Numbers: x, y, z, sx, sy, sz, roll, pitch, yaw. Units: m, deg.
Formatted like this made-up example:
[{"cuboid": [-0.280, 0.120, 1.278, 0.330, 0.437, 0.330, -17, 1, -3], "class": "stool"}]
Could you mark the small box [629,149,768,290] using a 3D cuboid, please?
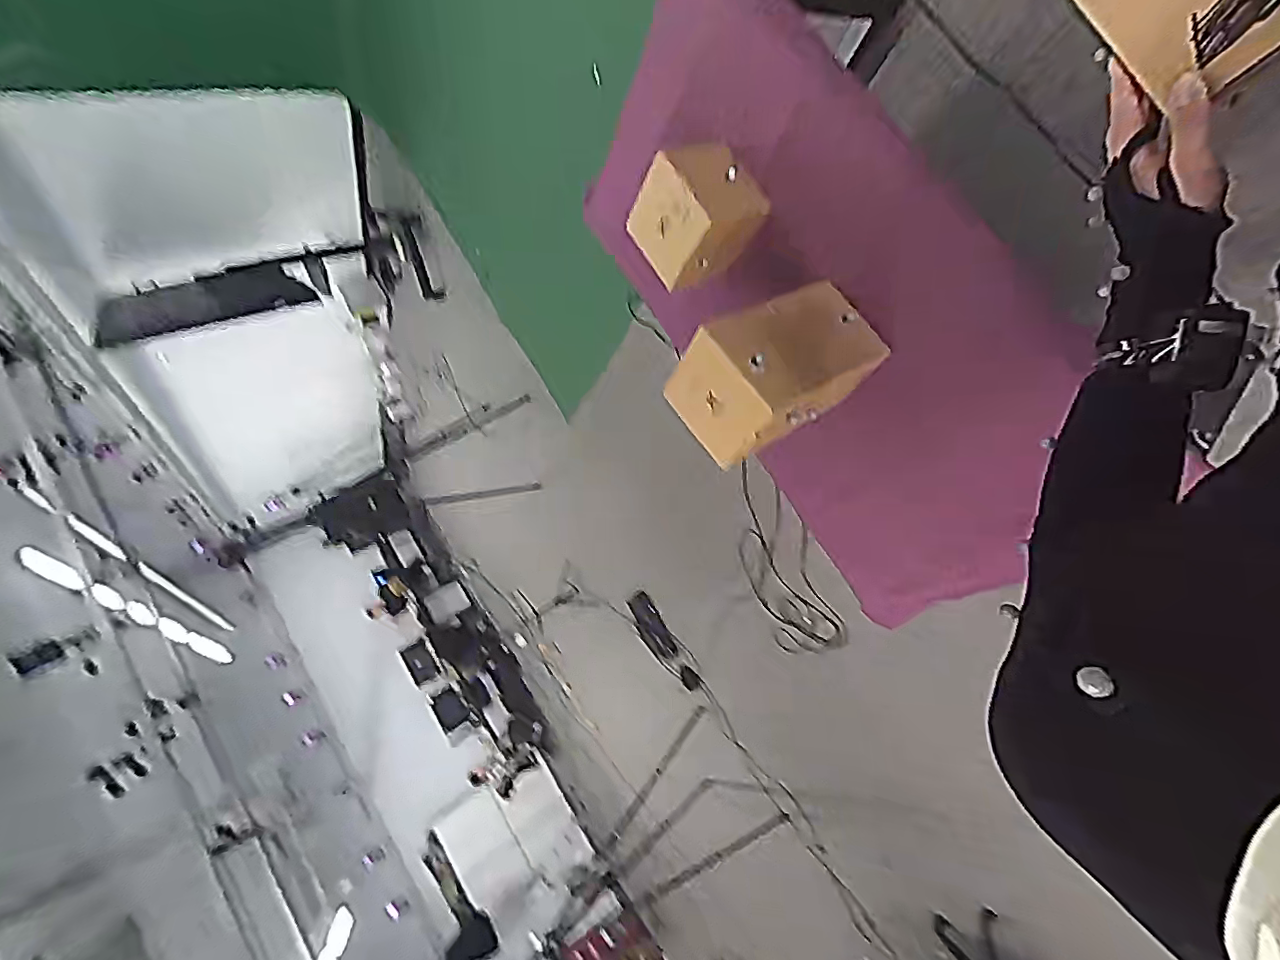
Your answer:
[{"cuboid": [0.112, -0.503, 1.045, 0.168, 0.176, 0.179, 57, 148, 8], "class": "small box"}]

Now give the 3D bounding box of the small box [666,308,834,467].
[{"cuboid": [0.180, -0.156, 0.892, 0.179, 0.176, 0.168, 54, 147, 14], "class": "small box"}]

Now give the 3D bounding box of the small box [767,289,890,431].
[{"cuboid": [0.303, -0.222, 0.978, 0.179, 0.176, 0.168, 55, 148, 14], "class": "small box"}]

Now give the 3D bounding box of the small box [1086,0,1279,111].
[{"cuboid": [0.463, -0.420, 0.409, 0.179, 0.176, 0.168, 58, 143, 5], "class": "small box"}]
